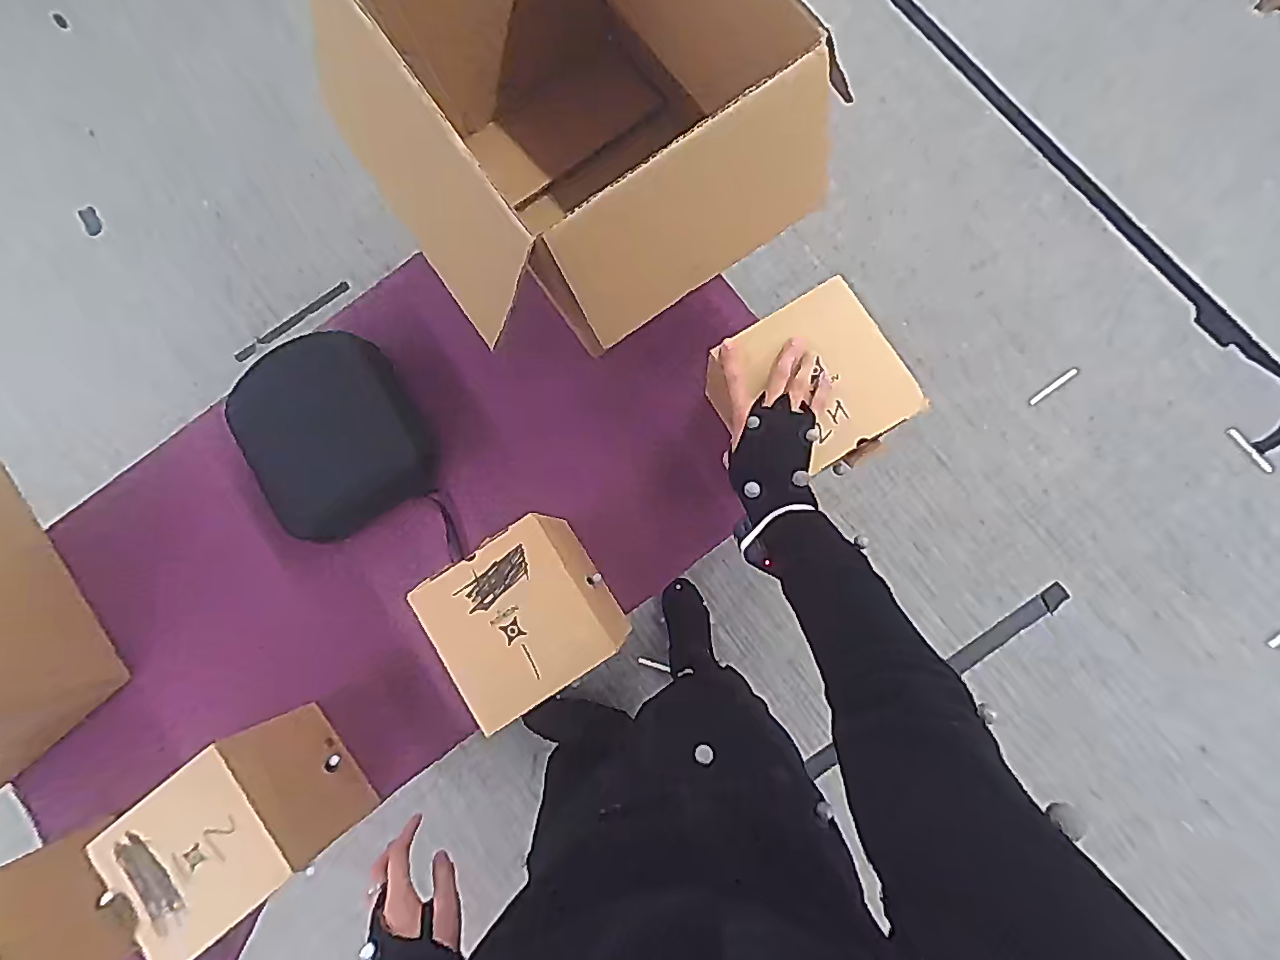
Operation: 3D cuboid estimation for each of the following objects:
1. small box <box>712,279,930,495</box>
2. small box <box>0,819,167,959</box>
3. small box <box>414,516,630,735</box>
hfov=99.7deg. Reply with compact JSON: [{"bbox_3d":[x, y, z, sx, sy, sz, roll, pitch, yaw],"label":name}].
[{"bbox_3d":[0.198,-0.097,0.654,0.168,0.176,0.179,-31,81,2],"label":"small box"},{"bbox_3d":[-0.745,0.564,0.653,0.179,0.176,0.168,-37,81,-2],"label":"small box"},{"bbox_3d":[-0.128,0.162,0.652,0.168,0.176,0.179,-33,82,1],"label":"small box"}]
